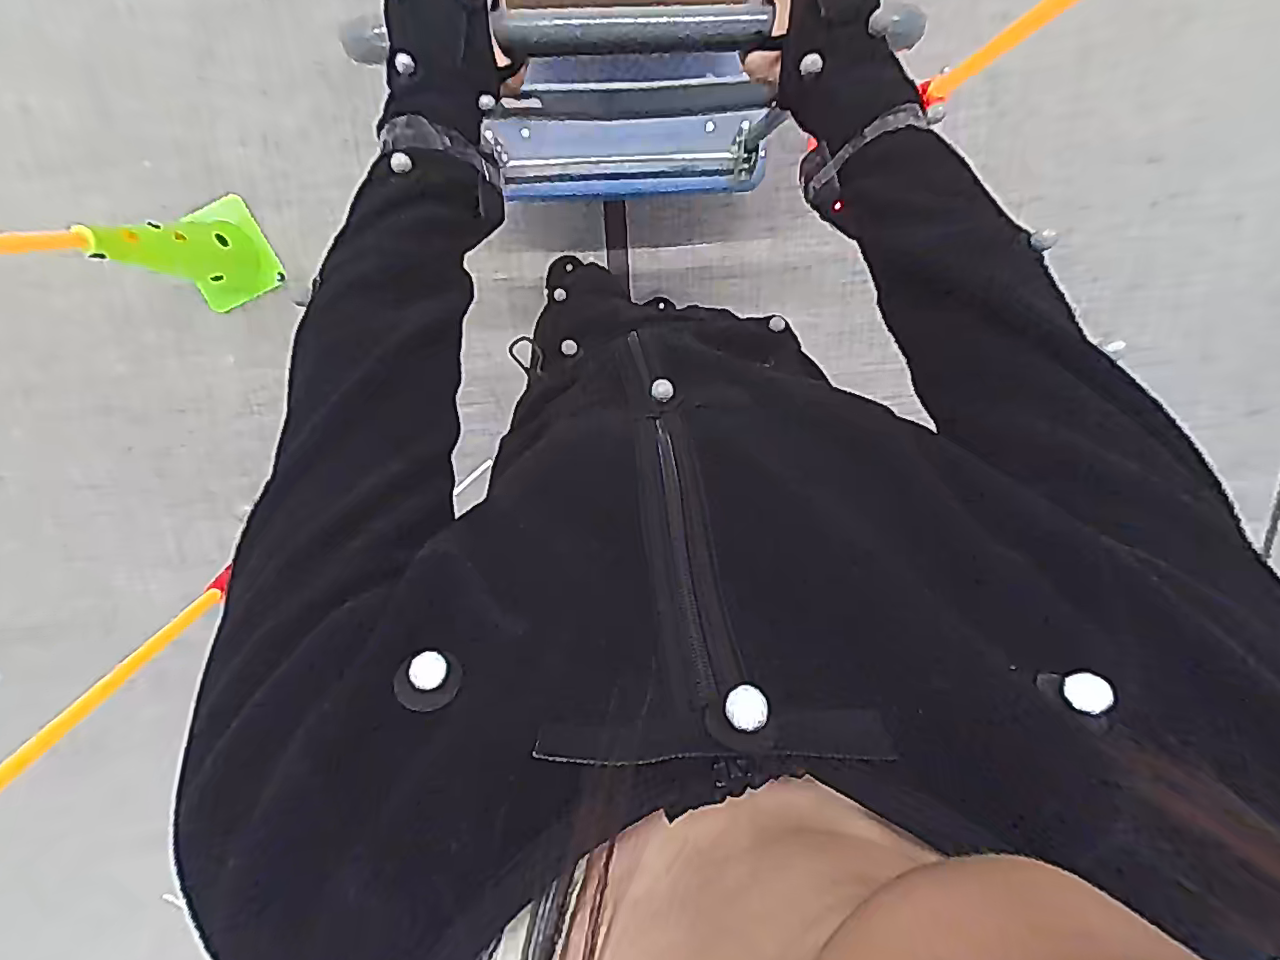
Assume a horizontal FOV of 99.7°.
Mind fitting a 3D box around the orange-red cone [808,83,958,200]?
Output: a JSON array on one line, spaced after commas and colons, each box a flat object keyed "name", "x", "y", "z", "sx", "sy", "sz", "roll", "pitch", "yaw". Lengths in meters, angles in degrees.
[{"name": "orange-red cone", "x": 0.493, "y": -0.685, "z": 1.046, "sx": 0.199, "sy": 0.360, "sz": 0.198, "roll": 2, "pitch": 109, "yaw": -4}]
